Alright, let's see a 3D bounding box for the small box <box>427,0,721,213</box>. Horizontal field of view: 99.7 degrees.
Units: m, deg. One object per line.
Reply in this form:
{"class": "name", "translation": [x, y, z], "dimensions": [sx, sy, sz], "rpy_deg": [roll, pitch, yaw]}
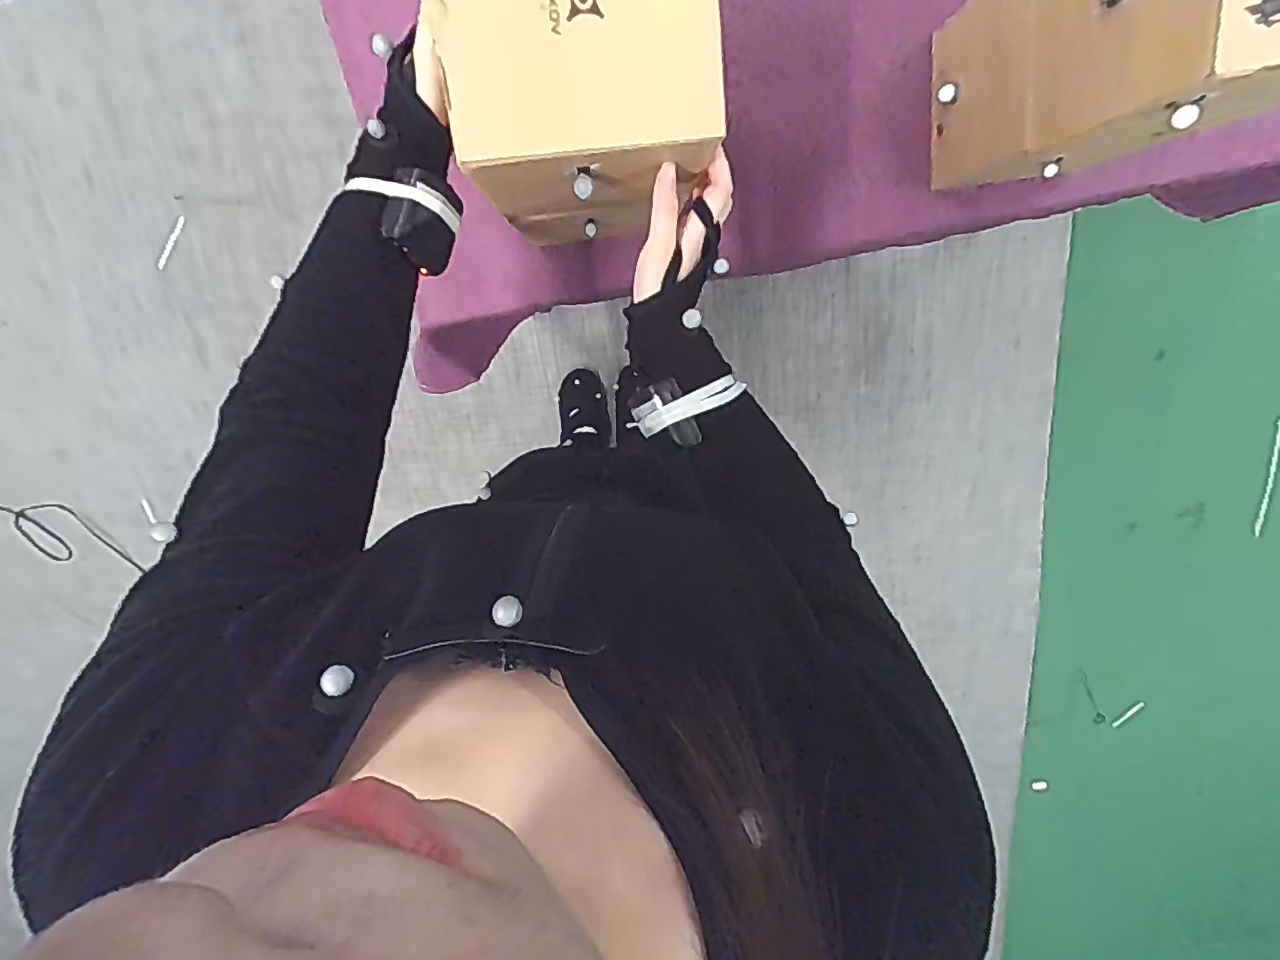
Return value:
{"class": "small box", "translation": [-0.044, -0.310, 0.404], "dimensions": [0.179, 0.176, 0.168], "rpy_deg": [-6, 105, 0]}

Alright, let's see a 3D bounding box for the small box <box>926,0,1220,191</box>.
{"class": "small box", "translation": [0.427, -0.417, 0.560], "dimensions": [0.179, 0.176, 0.168], "rpy_deg": [-8, 105, 2]}

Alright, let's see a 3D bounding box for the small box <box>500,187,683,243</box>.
{"class": "small box", "translation": [-0.054, -0.353, 0.563], "dimensions": [0.179, 0.176, 0.168], "rpy_deg": [-7, 106, 1]}
